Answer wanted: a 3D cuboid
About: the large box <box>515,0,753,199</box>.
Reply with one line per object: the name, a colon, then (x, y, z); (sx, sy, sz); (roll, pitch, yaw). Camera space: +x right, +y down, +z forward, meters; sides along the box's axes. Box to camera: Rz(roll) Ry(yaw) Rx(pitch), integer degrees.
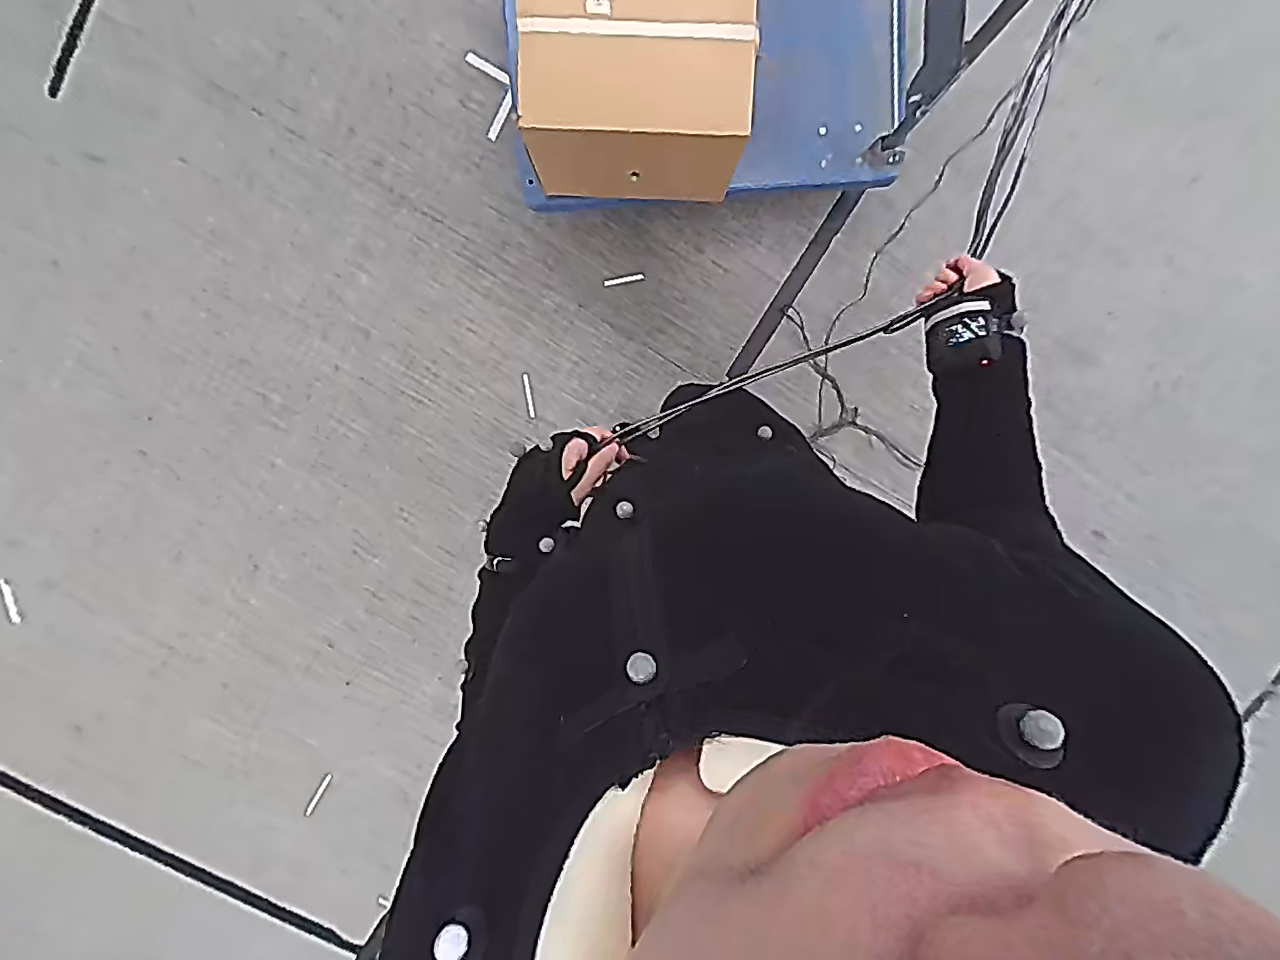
large box: (-0.009, -0.764, 1.052); (0.408, 0.320, 0.320); (1, 97, 0)
